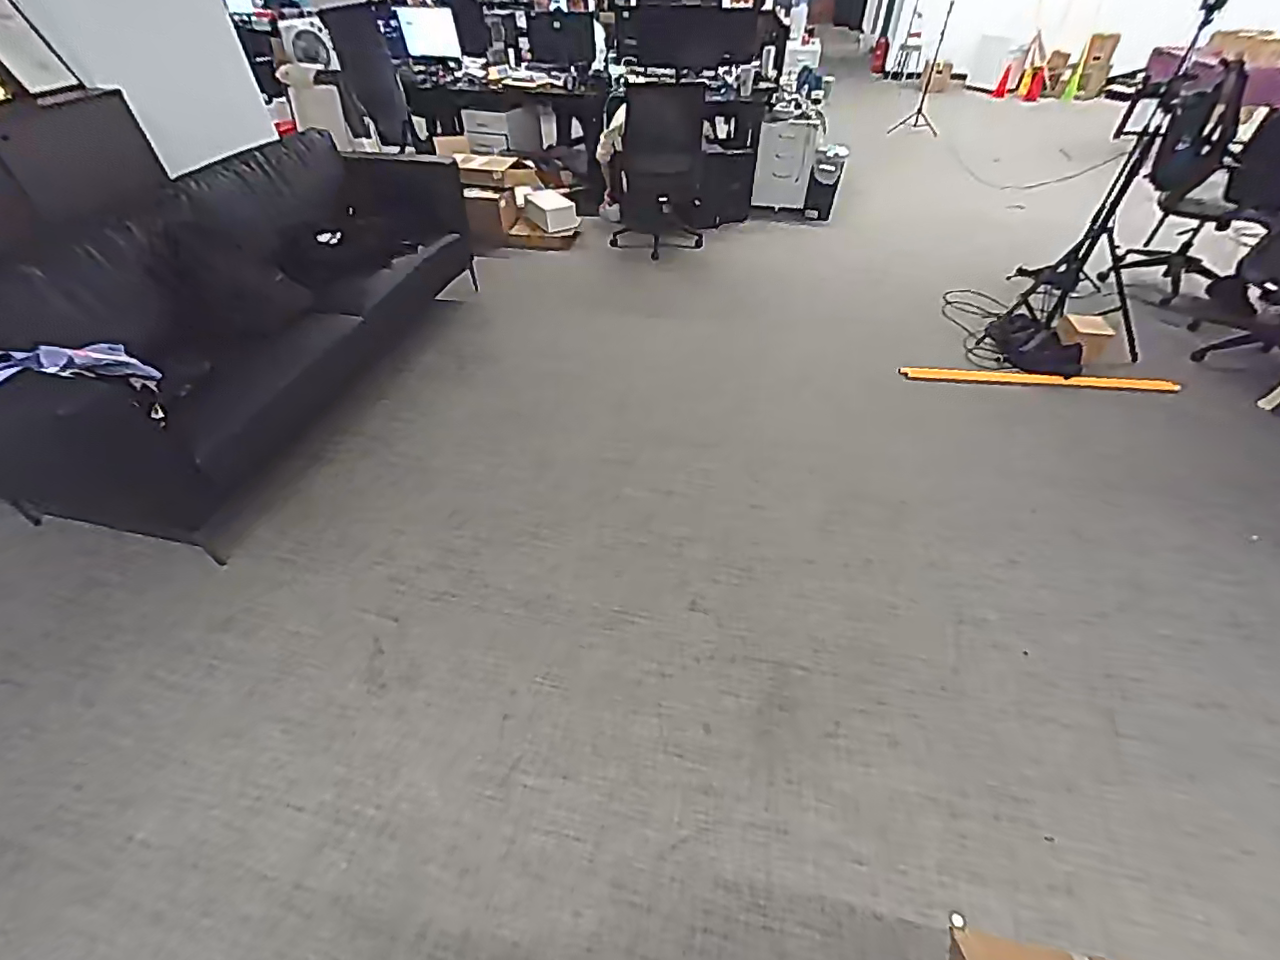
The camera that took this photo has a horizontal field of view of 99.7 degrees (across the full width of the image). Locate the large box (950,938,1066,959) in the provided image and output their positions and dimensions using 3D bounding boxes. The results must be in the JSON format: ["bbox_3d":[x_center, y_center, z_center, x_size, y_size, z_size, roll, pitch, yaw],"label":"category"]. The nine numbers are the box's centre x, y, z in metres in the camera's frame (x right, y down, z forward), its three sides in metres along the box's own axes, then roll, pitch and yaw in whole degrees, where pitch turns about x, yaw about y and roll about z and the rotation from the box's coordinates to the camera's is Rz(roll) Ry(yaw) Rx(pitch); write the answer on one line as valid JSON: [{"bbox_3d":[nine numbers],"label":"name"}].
[{"bbox_3d":[0.540,0.795,0.537,0.320,0.408,0.320,6,85,12],"label":"large box"}]
